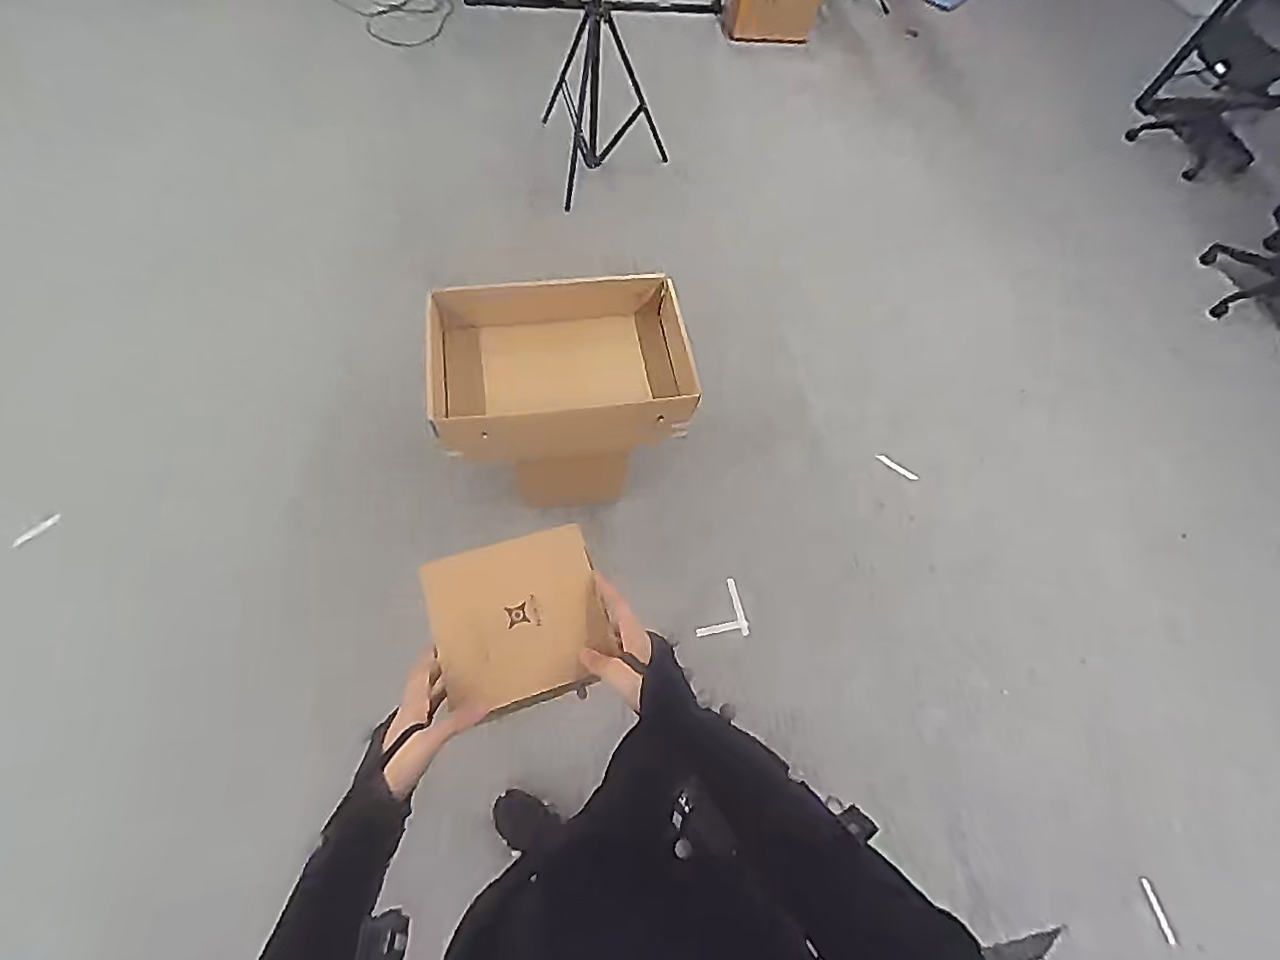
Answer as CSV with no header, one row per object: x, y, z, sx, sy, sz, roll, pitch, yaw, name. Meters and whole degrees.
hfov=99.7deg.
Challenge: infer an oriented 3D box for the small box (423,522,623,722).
-0.137,0.169,0.631,0.179,0.176,0.168,-14,68,-17,small box
